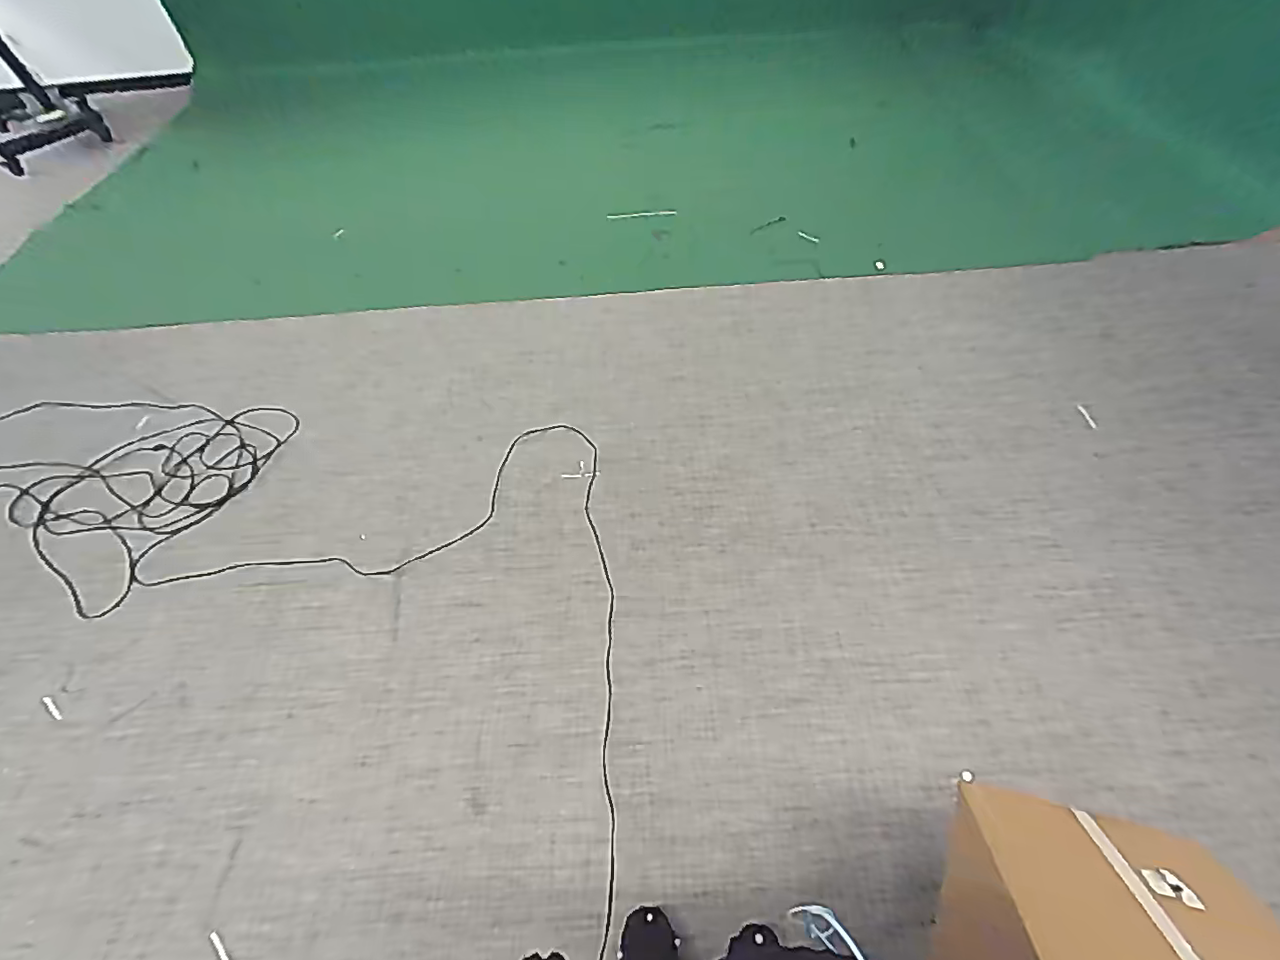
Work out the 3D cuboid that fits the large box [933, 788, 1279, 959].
[{"bbox_3d":[0.569,0.657,0.626,0.320,0.408,0.320,9,94,17],"label":"large box"}]
